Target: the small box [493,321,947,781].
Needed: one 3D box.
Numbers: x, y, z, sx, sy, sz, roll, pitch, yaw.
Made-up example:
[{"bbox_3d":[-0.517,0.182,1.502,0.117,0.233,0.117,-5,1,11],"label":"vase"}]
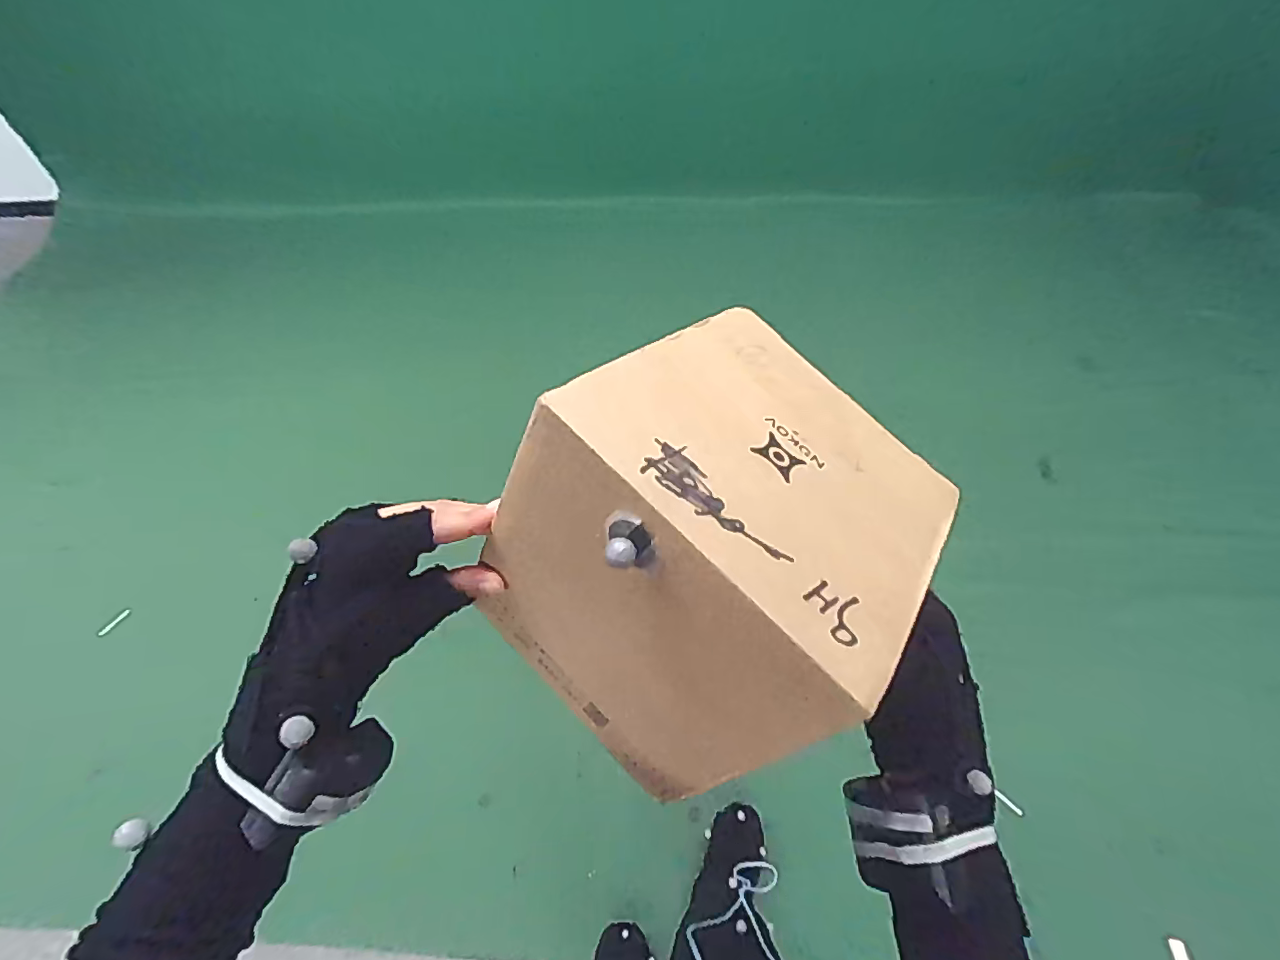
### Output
[{"bbox_3d":[0.040,0.036,0.323,0.168,0.176,0.179,43,44,12],"label":"small box"}]
